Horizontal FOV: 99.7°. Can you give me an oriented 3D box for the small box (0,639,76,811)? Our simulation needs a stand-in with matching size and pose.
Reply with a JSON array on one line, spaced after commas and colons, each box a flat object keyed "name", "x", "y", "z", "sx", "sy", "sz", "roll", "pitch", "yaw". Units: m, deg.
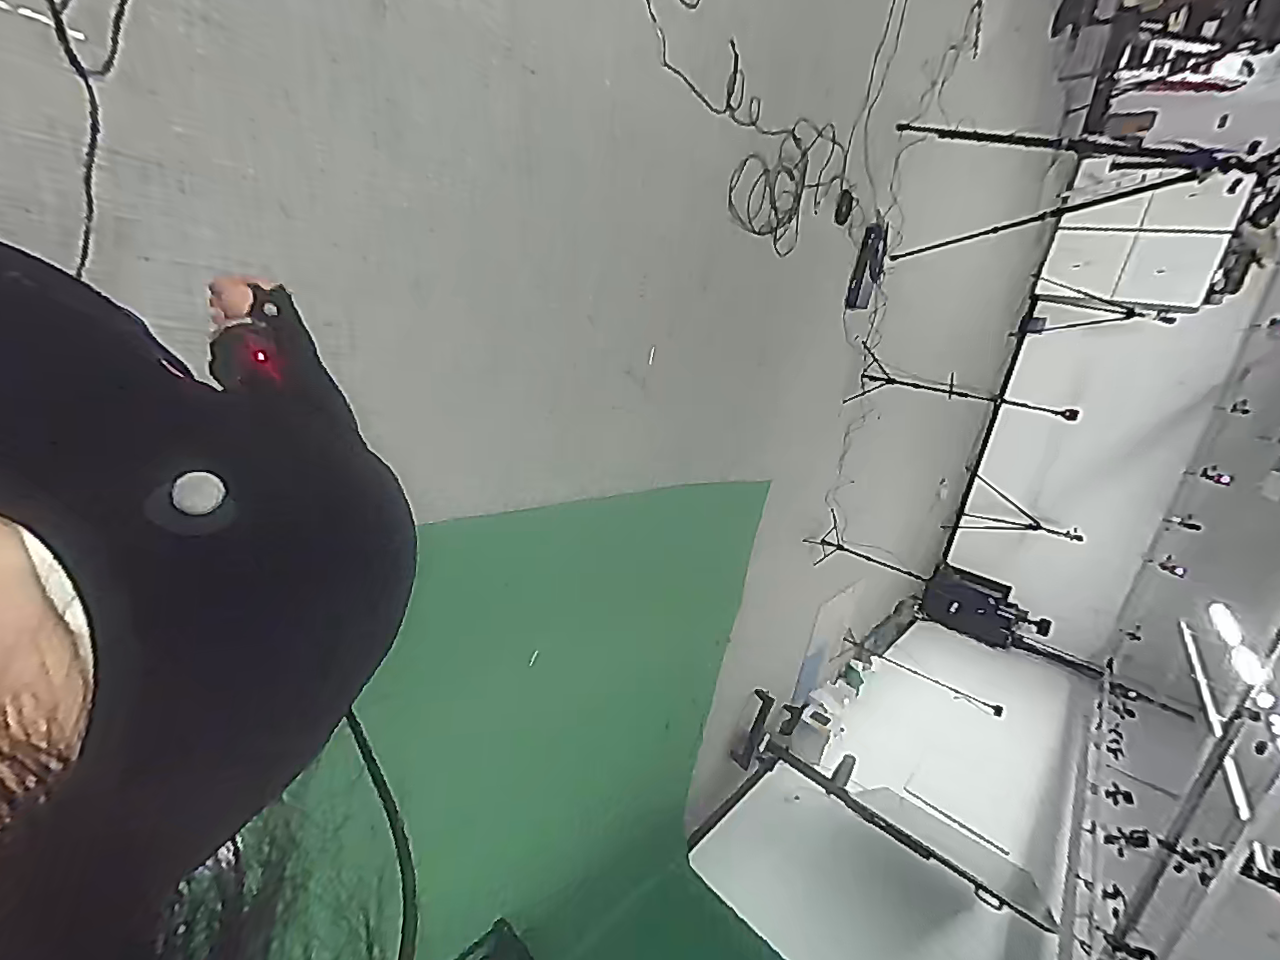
[{"name": "small box", "x": -0.922, "y": 0.324, "z": 0.730, "sx": 0.168, "sy": 0.176, "sz": 0.179, "roll": 30, "pitch": 85, "yaw": -52}]

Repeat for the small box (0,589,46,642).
[{"name": "small box", "x": -1.041, "y": 0.283, "z": 0.834, "sx": 0.168, "sy": 0.176, "sz": 0.179, "roll": -4, "pitch": 111, "yaw": -48}]

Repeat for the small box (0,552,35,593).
[{"name": "small box", "x": -1.167, "y": 0.245, "z": 0.933, "sx": 0.168, "sy": 0.176, "sz": 0.179, "roll": -7, "pitch": 112, "yaw": -49}]
